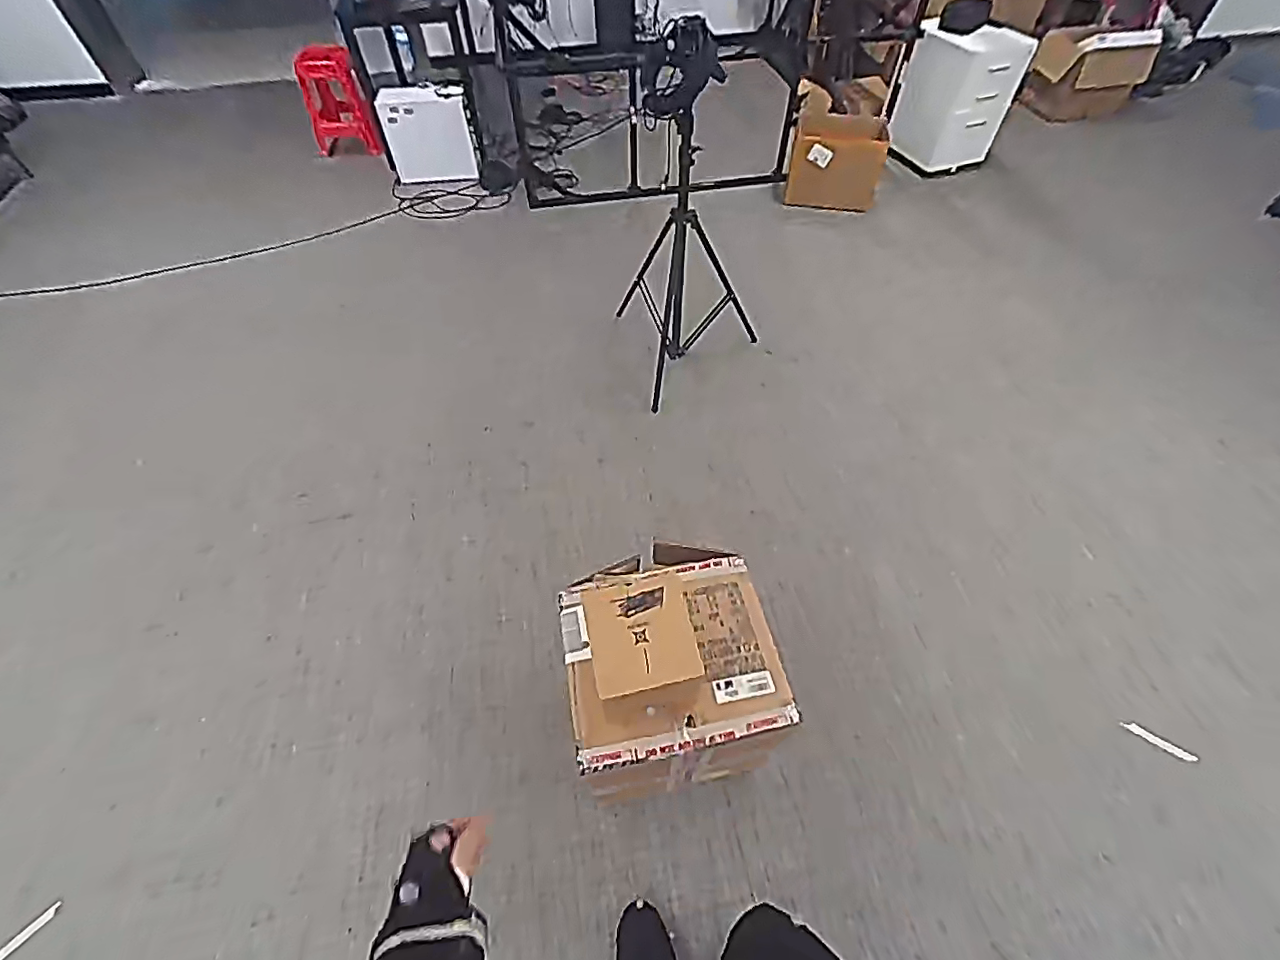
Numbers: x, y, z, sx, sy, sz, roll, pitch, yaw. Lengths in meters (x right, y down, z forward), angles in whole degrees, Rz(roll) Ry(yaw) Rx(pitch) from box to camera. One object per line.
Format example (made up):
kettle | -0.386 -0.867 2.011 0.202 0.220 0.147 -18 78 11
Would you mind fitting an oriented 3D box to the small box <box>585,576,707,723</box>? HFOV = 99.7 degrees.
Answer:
small box | 0.005 0.290 0.915 0.168 0.176 0.179 -12 57 -6
